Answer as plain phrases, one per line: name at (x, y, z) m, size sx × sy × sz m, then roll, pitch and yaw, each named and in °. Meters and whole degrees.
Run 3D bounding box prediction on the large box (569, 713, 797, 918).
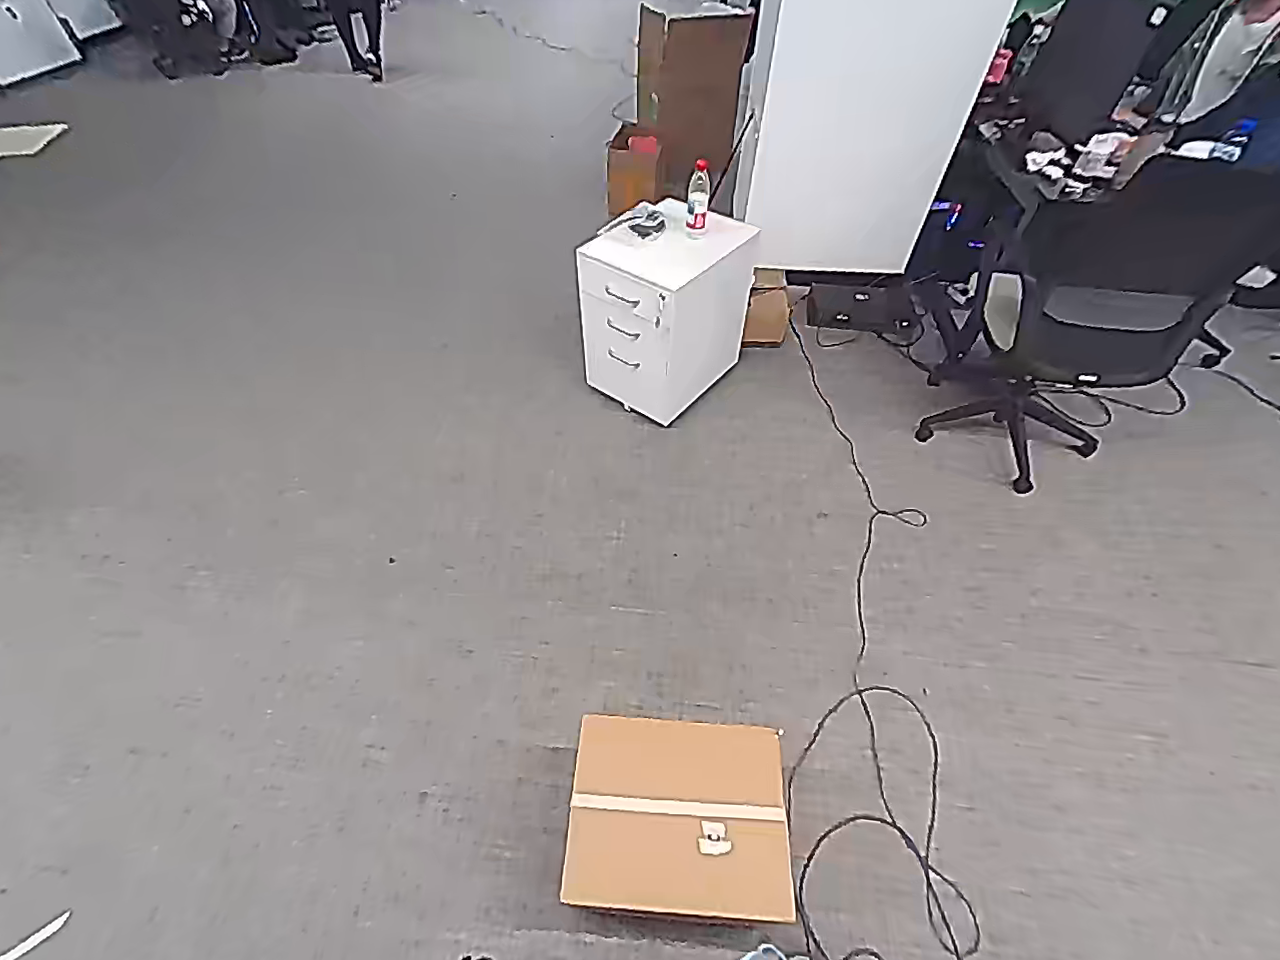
large box at (0.077, 0.710, 1.138) m, size 0.408 × 0.320 × 0.320 m, roll 4°, pitch 50°, yaw 2°
